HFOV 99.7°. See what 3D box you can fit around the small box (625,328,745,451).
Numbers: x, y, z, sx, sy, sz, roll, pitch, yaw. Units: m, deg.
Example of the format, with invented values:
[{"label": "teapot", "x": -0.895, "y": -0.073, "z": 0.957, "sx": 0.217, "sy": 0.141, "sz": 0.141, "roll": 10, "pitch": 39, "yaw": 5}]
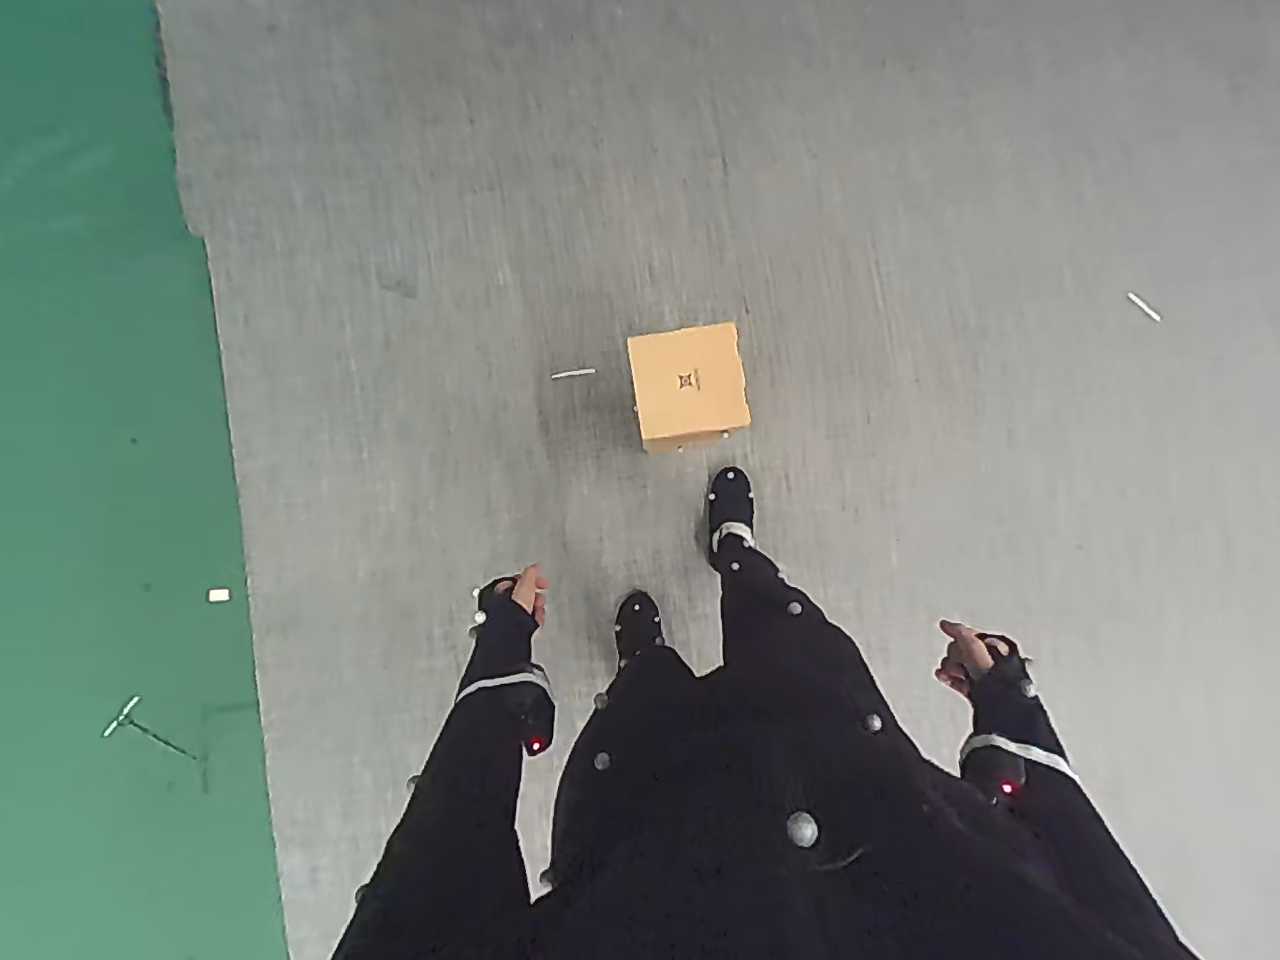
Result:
[{"label": "small box", "x": 0.074, "y": -0.148, "z": 0.947, "sx": 0.179, "sy": 0.176, "sz": 0.168, "roll": -9, "pitch": 87, "yaw": 0}]
